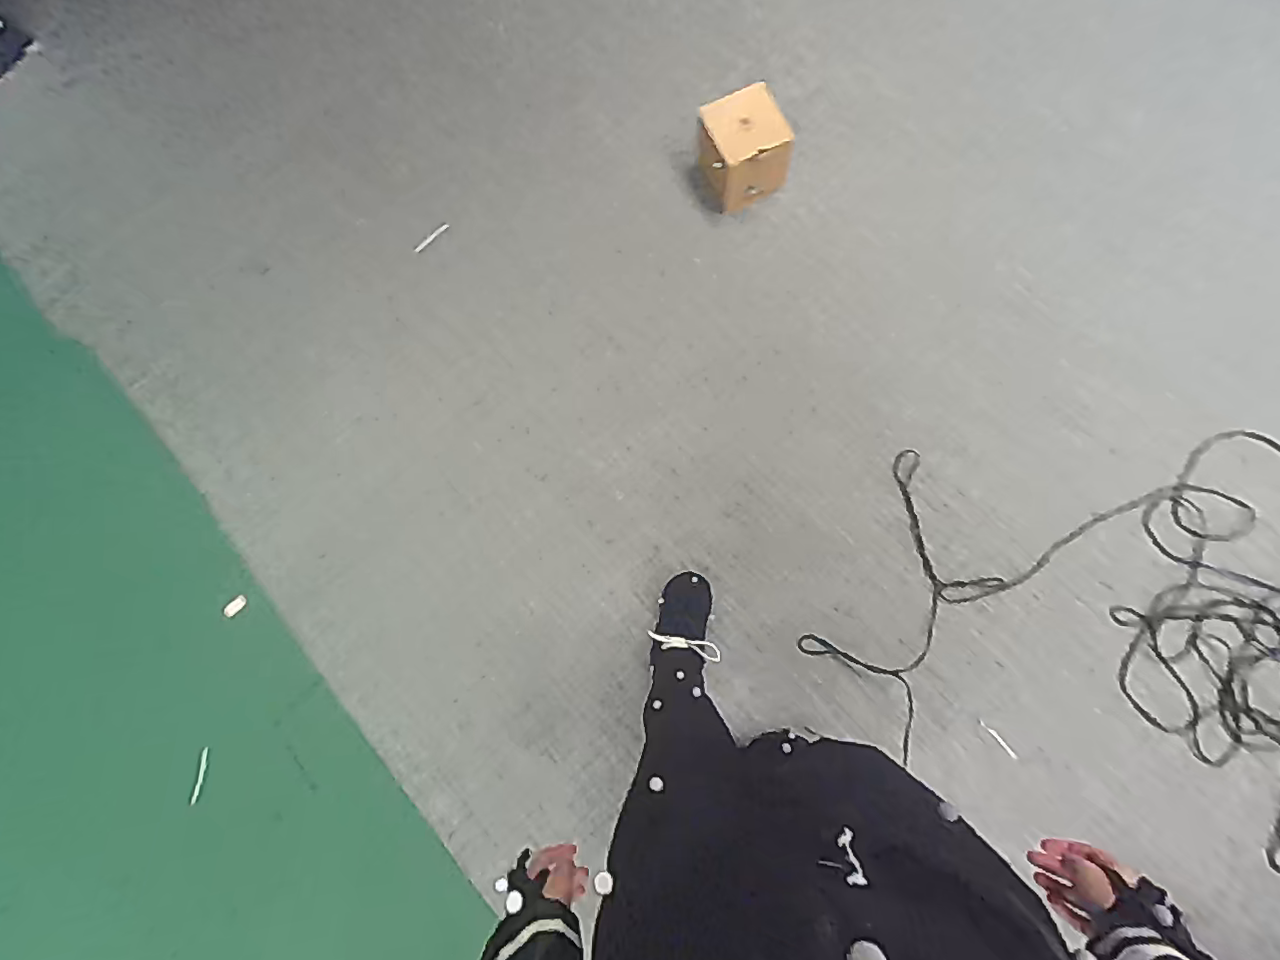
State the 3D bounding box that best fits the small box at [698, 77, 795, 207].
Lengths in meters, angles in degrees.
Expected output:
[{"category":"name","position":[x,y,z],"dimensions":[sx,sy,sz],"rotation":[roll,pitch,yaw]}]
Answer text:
[{"category":"small box","position":[0.247,-0.809,1.309],"dimensions":[0.168,0.176,0.179],"rotation":[-24,79,-1]}]
